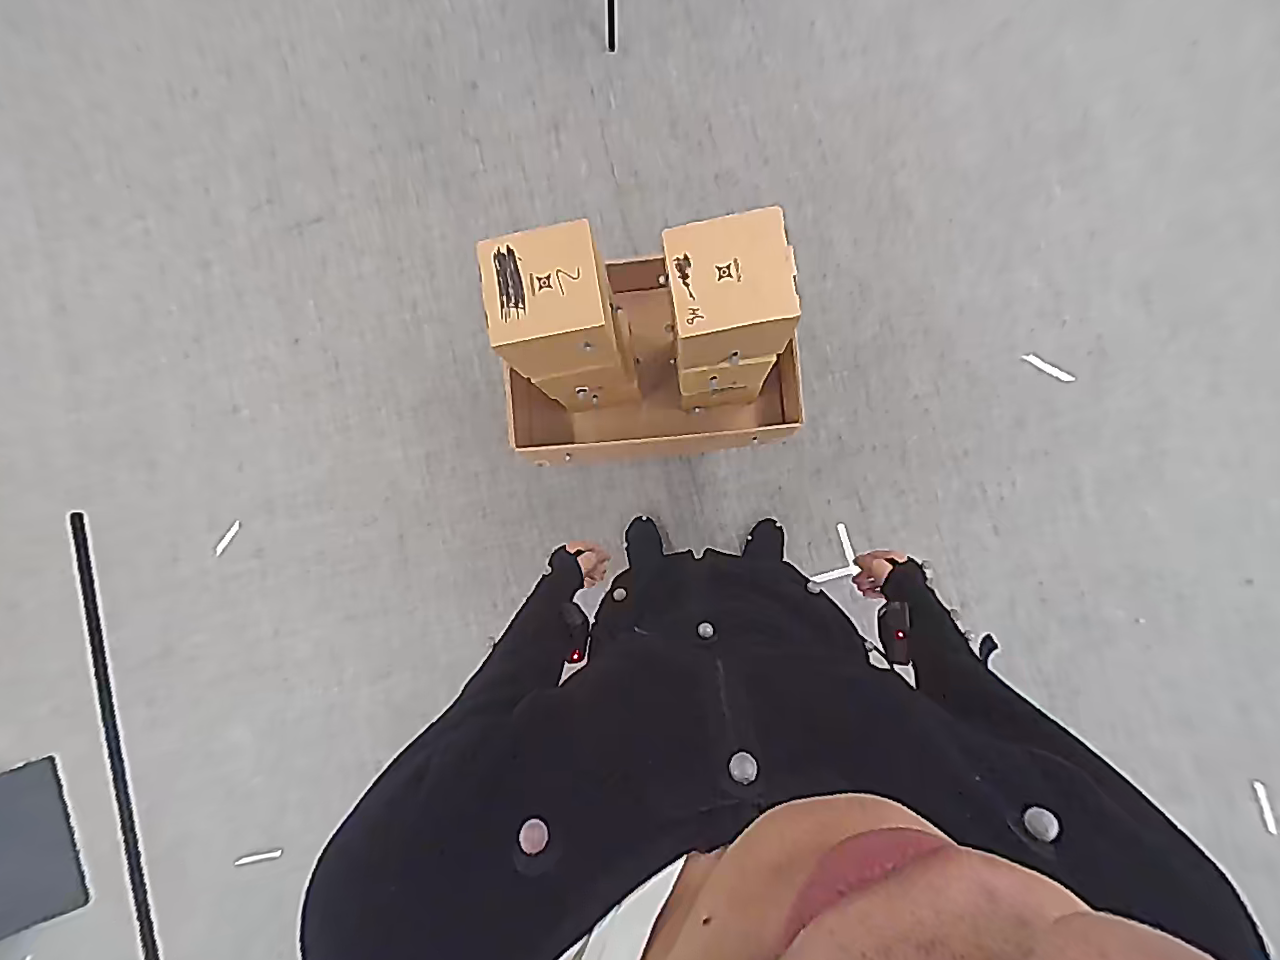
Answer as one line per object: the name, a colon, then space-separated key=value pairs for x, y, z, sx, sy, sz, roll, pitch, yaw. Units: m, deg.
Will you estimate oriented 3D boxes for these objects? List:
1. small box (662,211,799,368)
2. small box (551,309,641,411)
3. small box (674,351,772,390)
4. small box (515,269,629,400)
small box: x=0.132 y=-0.286 z=0.846 sx=0.179 sy=0.176 sz=0.168 roll=-9 pitch=85 yaw=4
small box: x=-0.099 y=-0.256 z=1.191 sx=0.179 sy=0.176 sz=0.168 roll=-8 pitch=86 yaw=4
small box: x=0.144 y=-0.272 z=1.009 sx=0.168 sy=0.176 sz=0.179 roll=-7 pitch=85 yaw=4
small box: x=-0.123 y=-0.267 z=1.029 sx=0.168 sy=0.176 sz=0.179 roll=-11 pitch=85 yaw=6
